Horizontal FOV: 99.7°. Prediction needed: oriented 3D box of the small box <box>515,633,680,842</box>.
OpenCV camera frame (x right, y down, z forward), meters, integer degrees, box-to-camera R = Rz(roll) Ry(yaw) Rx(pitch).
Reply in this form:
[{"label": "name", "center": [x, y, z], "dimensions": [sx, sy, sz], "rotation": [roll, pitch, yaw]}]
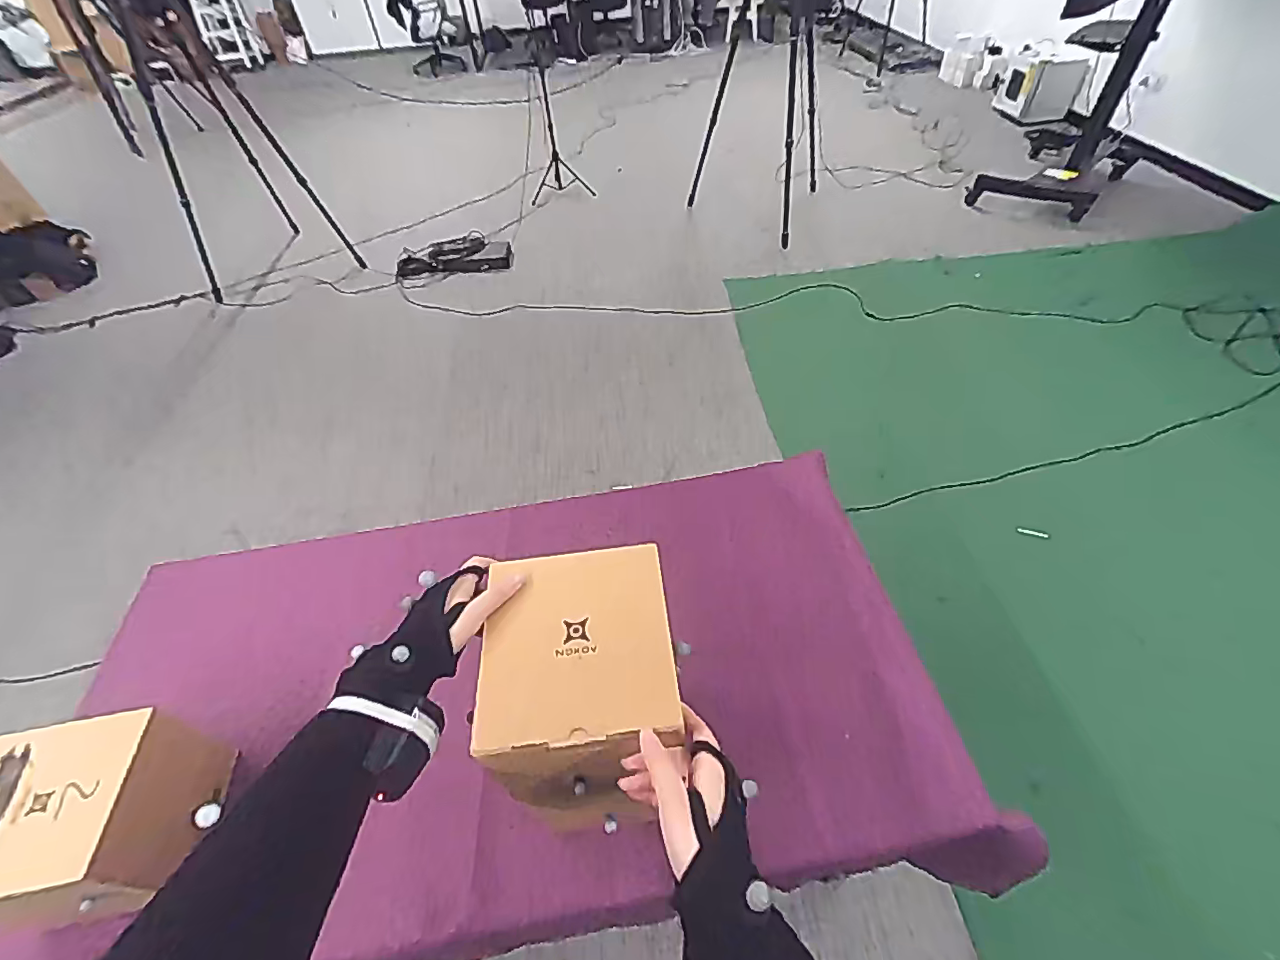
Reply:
[{"label": "small box", "center": [-0.046, 0.307, 0.645], "dimensions": [0.168, 0.176, 0.179], "rotation": [-7, 48, -1]}]
